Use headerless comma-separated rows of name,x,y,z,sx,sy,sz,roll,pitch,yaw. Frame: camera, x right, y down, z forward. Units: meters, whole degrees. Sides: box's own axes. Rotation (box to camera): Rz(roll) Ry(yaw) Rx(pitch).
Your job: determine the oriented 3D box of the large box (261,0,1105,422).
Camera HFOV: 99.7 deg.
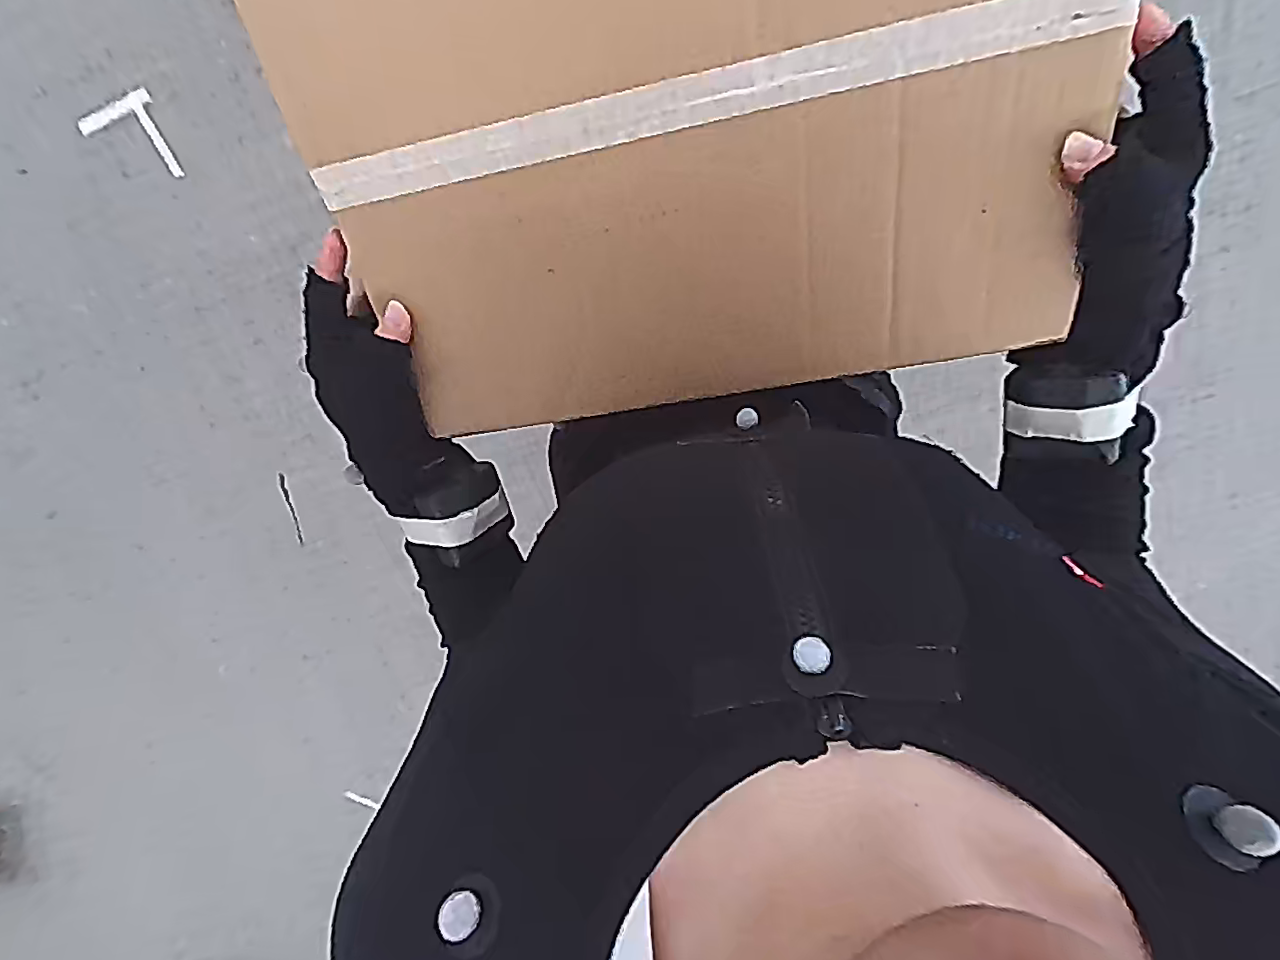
large box,0.028,-0.273,0.407,0.408,0.320,0.320,-8,121,8
